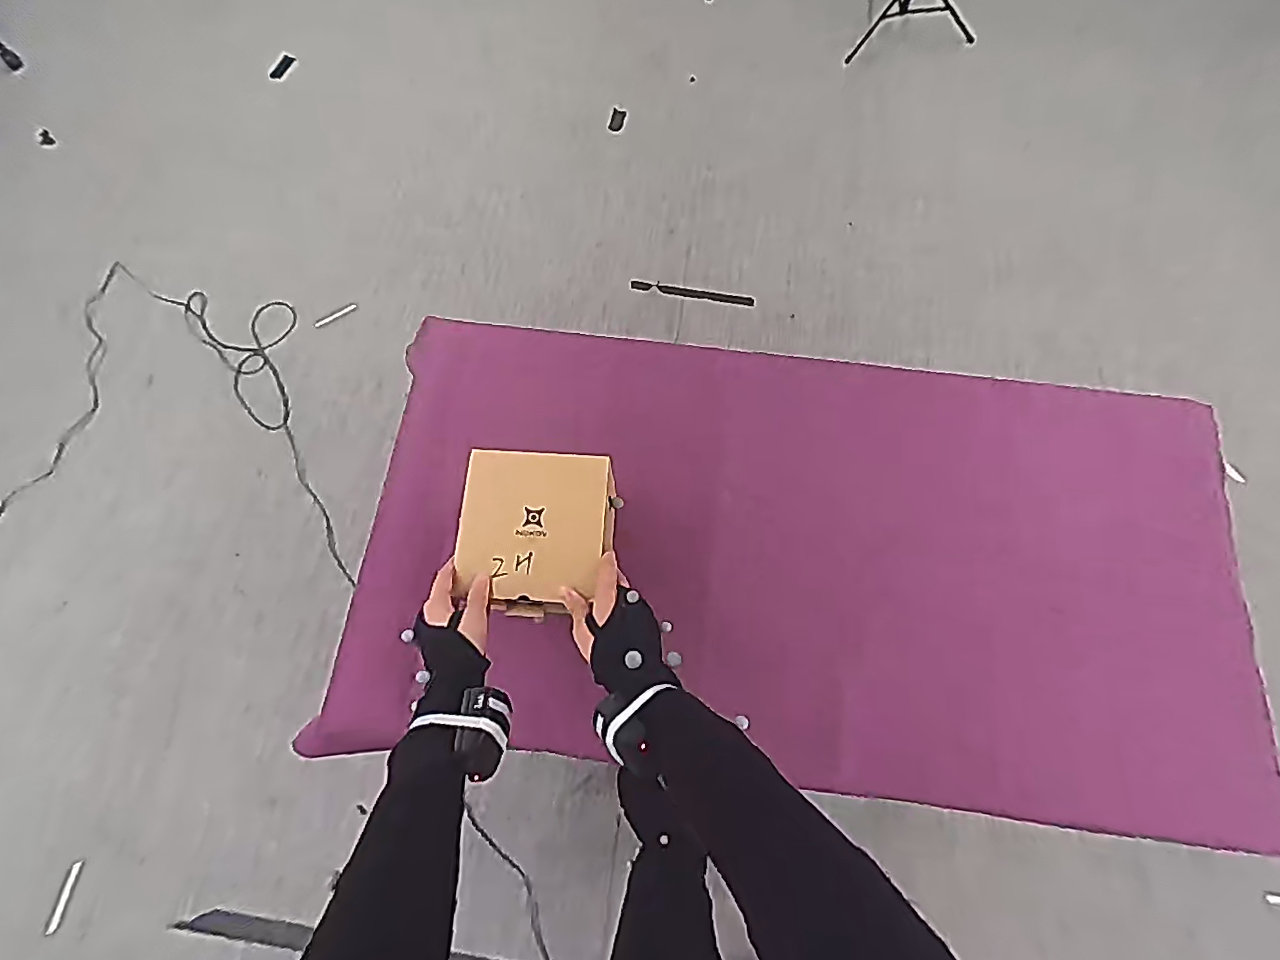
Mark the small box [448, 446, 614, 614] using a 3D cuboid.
[{"bbox_3d":[-0.124,0.071,0.690,0.168,0.176,0.179,3,73,2],"label":"small box"}]
